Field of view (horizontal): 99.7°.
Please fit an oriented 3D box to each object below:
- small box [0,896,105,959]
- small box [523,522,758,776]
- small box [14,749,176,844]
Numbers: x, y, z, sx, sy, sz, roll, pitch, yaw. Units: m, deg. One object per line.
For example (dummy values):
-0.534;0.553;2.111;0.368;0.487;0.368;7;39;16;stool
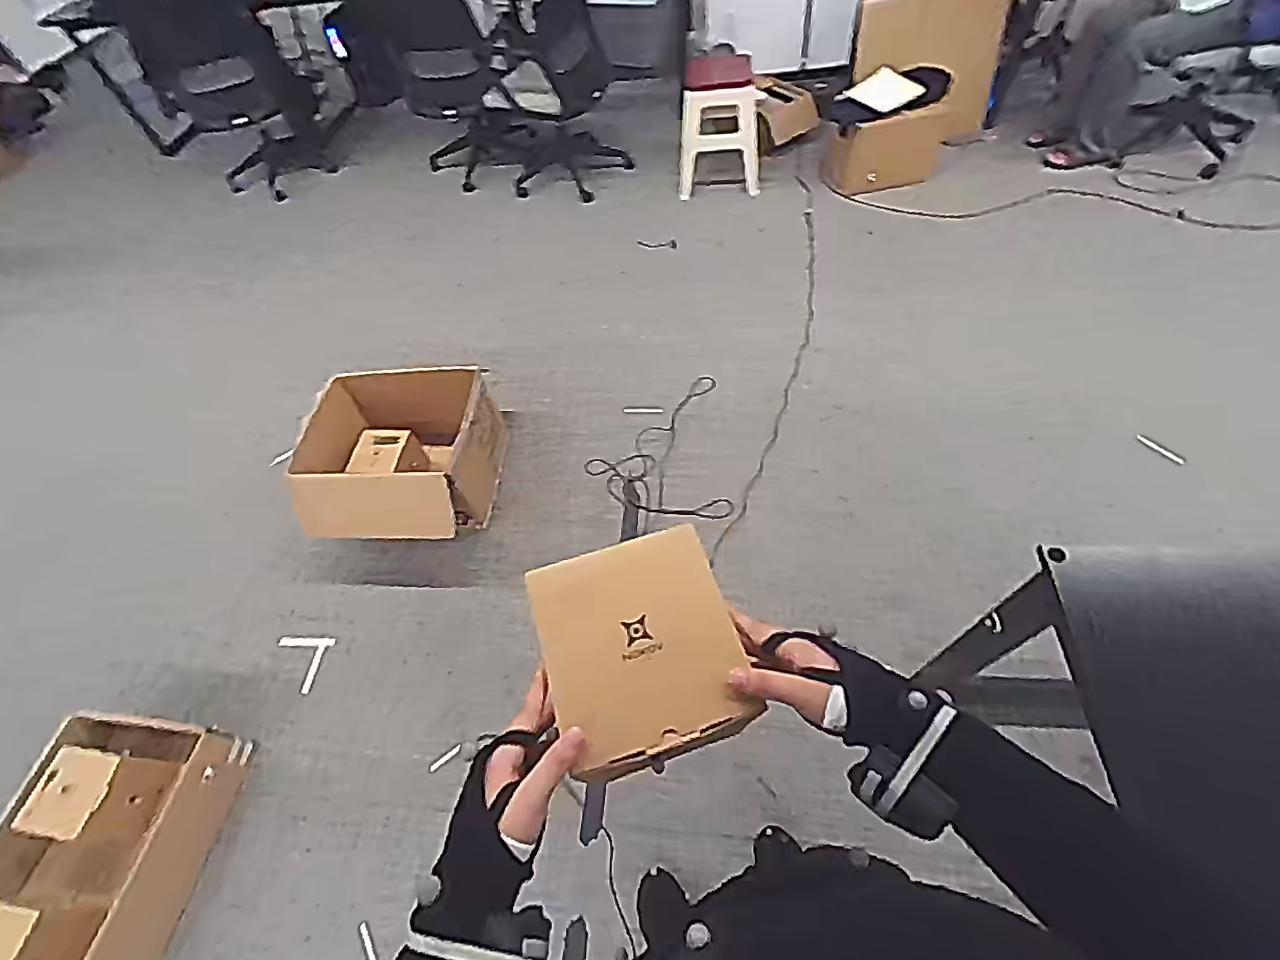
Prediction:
-1.303;0.995;1.131;0.168;0.176;0.179;3;55;6;small box
-0.006;0.171;0.533;0.168;0.176;0.179;-16;61;-8;small box
-1.284;0.755;1.292;0.179;0.176;0.168;5;58;8;small box
